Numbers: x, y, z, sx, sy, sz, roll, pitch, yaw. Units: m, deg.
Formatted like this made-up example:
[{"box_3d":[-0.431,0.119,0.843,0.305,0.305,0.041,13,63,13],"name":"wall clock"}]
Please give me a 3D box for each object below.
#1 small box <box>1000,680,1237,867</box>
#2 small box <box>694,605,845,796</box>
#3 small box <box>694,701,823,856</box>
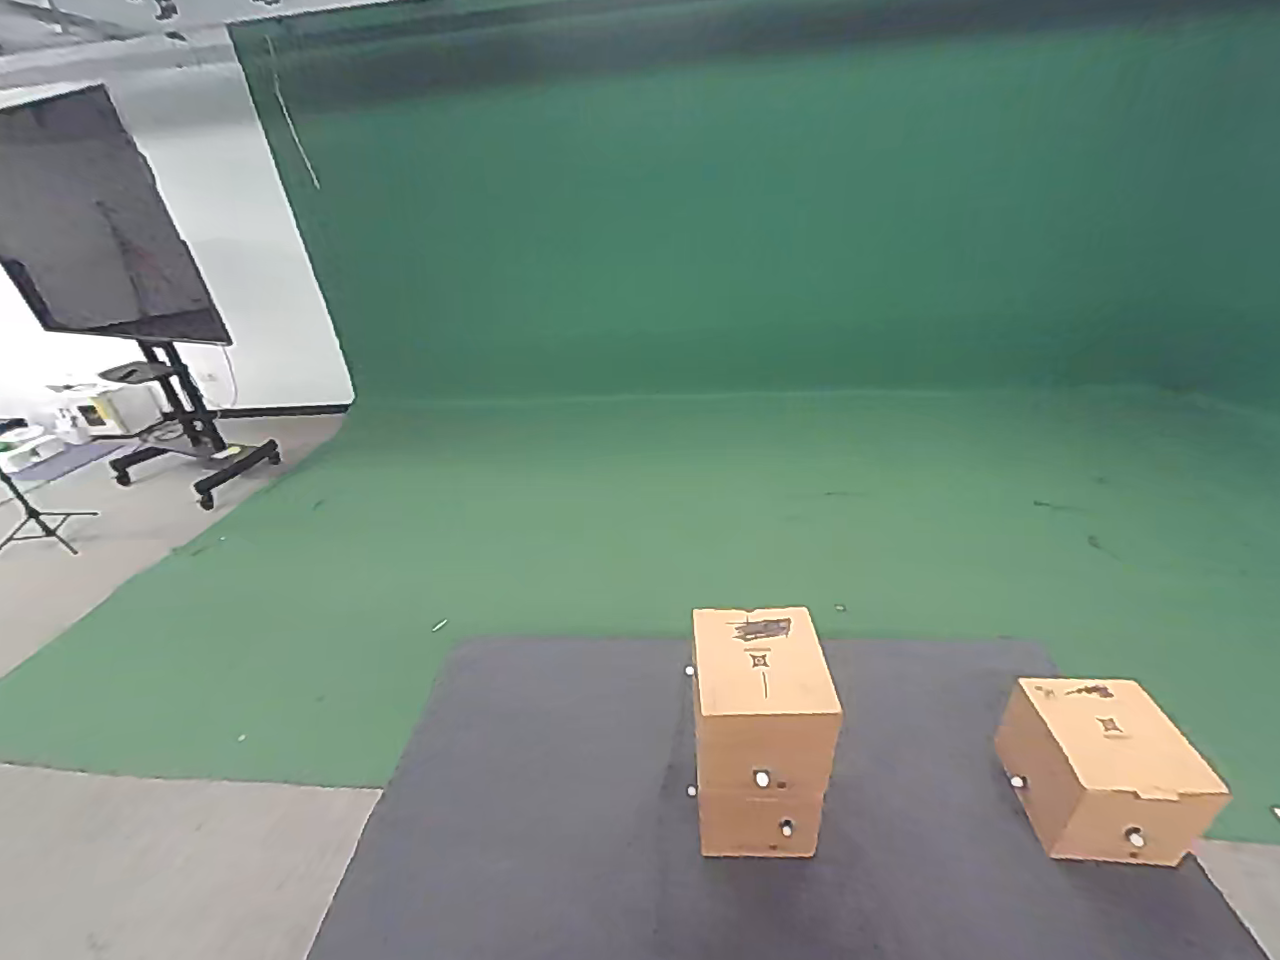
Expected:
[{"box_3d":[0.651,0.413,0.767,0.168,0.176,0.179,-1,30,8],"name":"small box"},{"box_3d":[0.159,0.290,0.728,0.168,0.176,0.179,-2,31,3],"name":"small box"},{"box_3d":[0.167,0.431,0.812,0.168,0.176,0.179,-1,29,4],"name":"small box"}]
